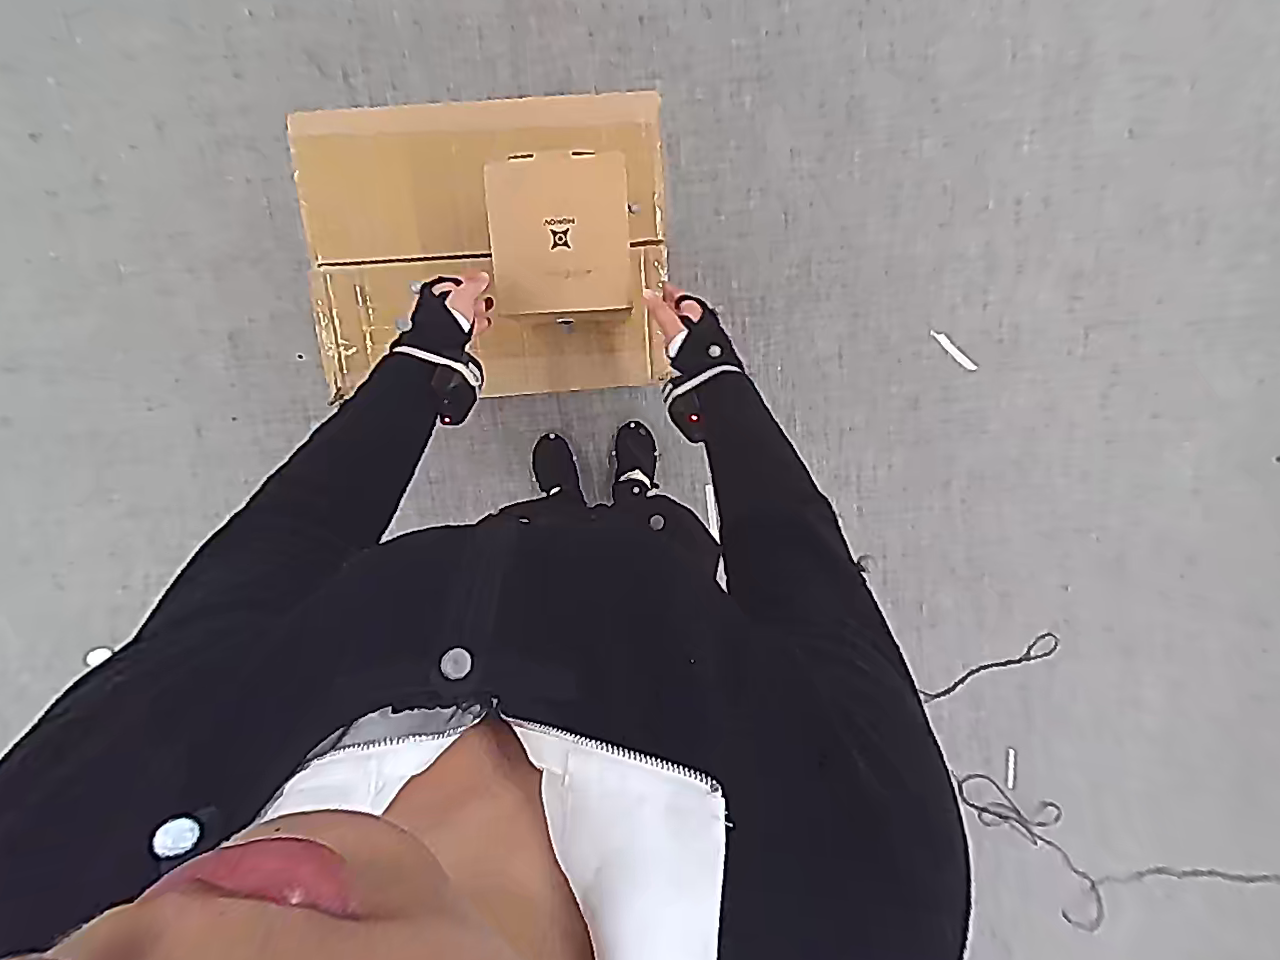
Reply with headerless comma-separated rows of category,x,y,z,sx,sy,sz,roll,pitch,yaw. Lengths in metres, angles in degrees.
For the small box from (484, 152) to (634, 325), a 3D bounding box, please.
small box,-0.097,-0.306,0.716,0.168,0.176,0.179,-4,103,0
